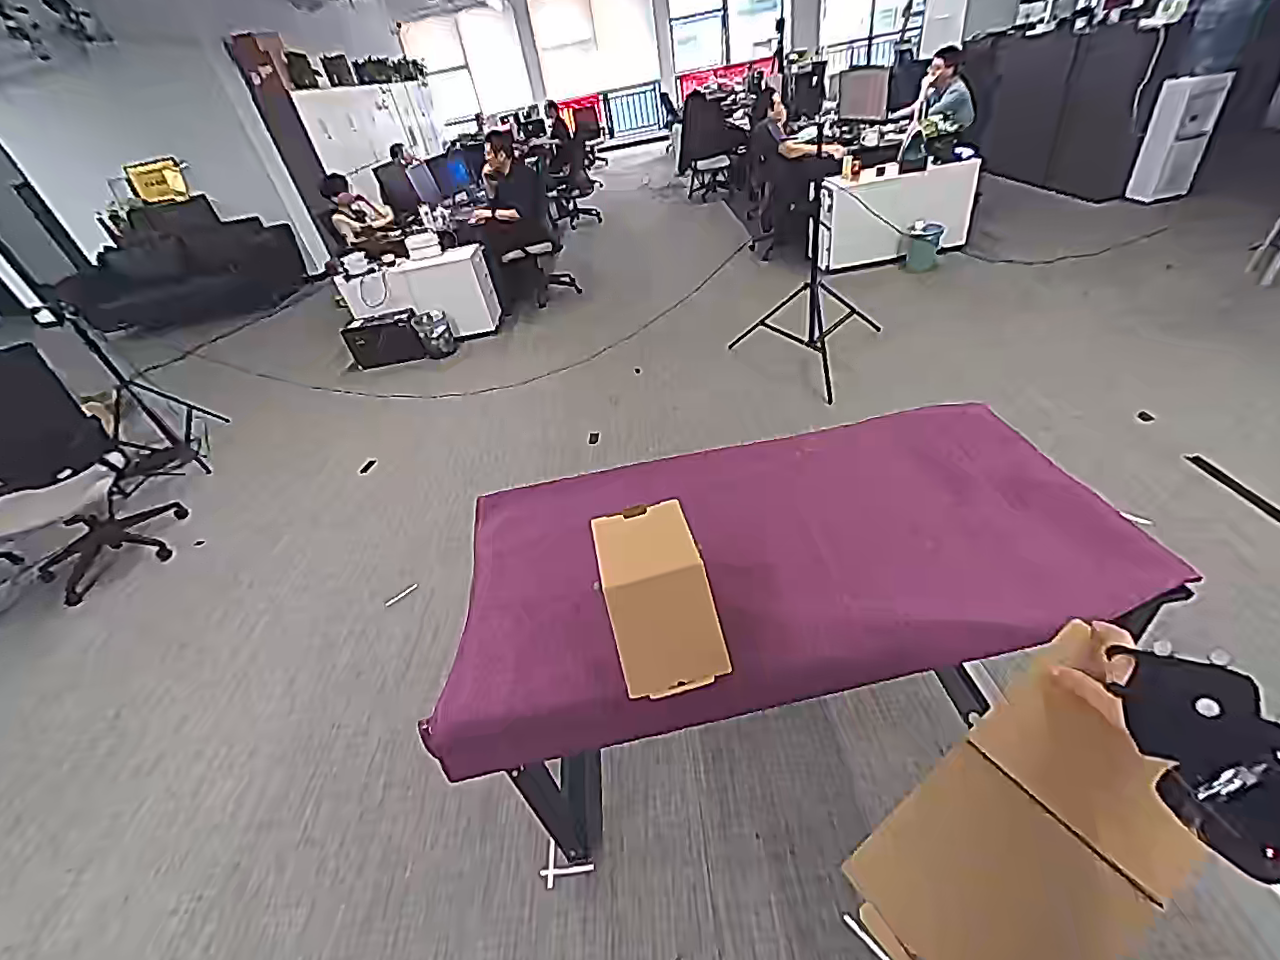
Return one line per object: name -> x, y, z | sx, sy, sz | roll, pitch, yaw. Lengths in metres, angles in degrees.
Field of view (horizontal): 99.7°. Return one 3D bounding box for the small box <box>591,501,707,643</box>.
small box -> 0.016, 0.170, 0.969 | 0.168, 0.176, 0.179 | -13, 36, -3
